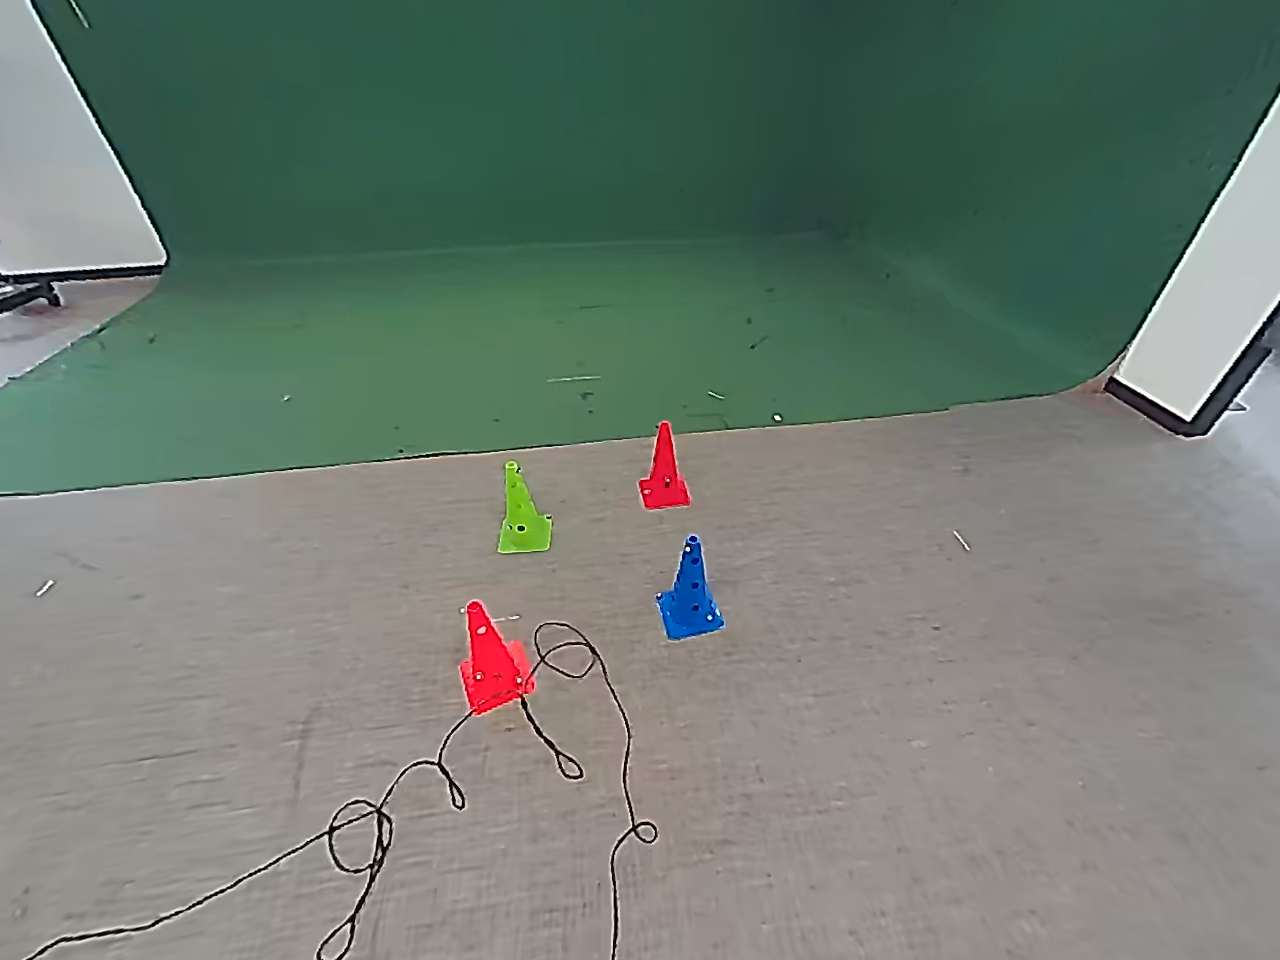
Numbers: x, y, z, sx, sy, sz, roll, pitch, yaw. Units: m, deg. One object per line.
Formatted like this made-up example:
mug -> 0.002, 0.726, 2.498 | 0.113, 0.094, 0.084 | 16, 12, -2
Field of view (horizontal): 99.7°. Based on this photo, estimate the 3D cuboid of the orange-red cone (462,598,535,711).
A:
orange-red cone -> -0.444, 0.472, 1.577 | 0.198, 0.360, 0.199 | -17, 40, -20

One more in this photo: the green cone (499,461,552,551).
green cone -> -0.462, 0.076, 2.055 | 0.200, 0.368, 0.202 | -4, 40, -3
